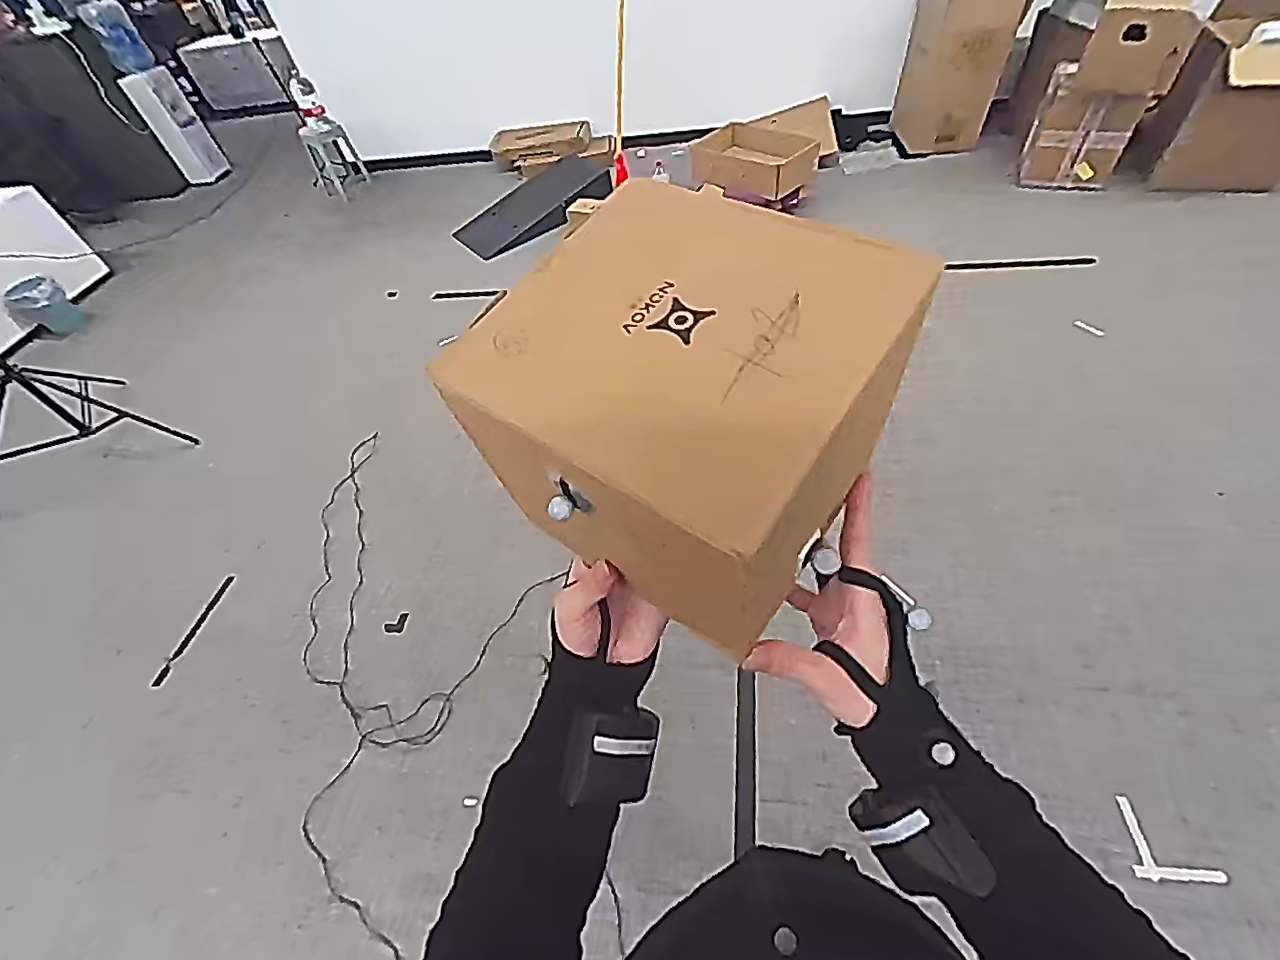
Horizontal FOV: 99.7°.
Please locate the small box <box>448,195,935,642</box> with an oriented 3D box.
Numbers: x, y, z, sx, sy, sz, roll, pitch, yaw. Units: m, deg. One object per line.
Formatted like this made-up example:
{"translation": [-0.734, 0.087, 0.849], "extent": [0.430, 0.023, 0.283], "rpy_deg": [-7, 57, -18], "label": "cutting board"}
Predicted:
{"translation": [0.032, -0.029, 0.322], "extent": [0.179, 0.176, 0.168], "rpy_deg": [29, 69, 24], "label": "small box"}
